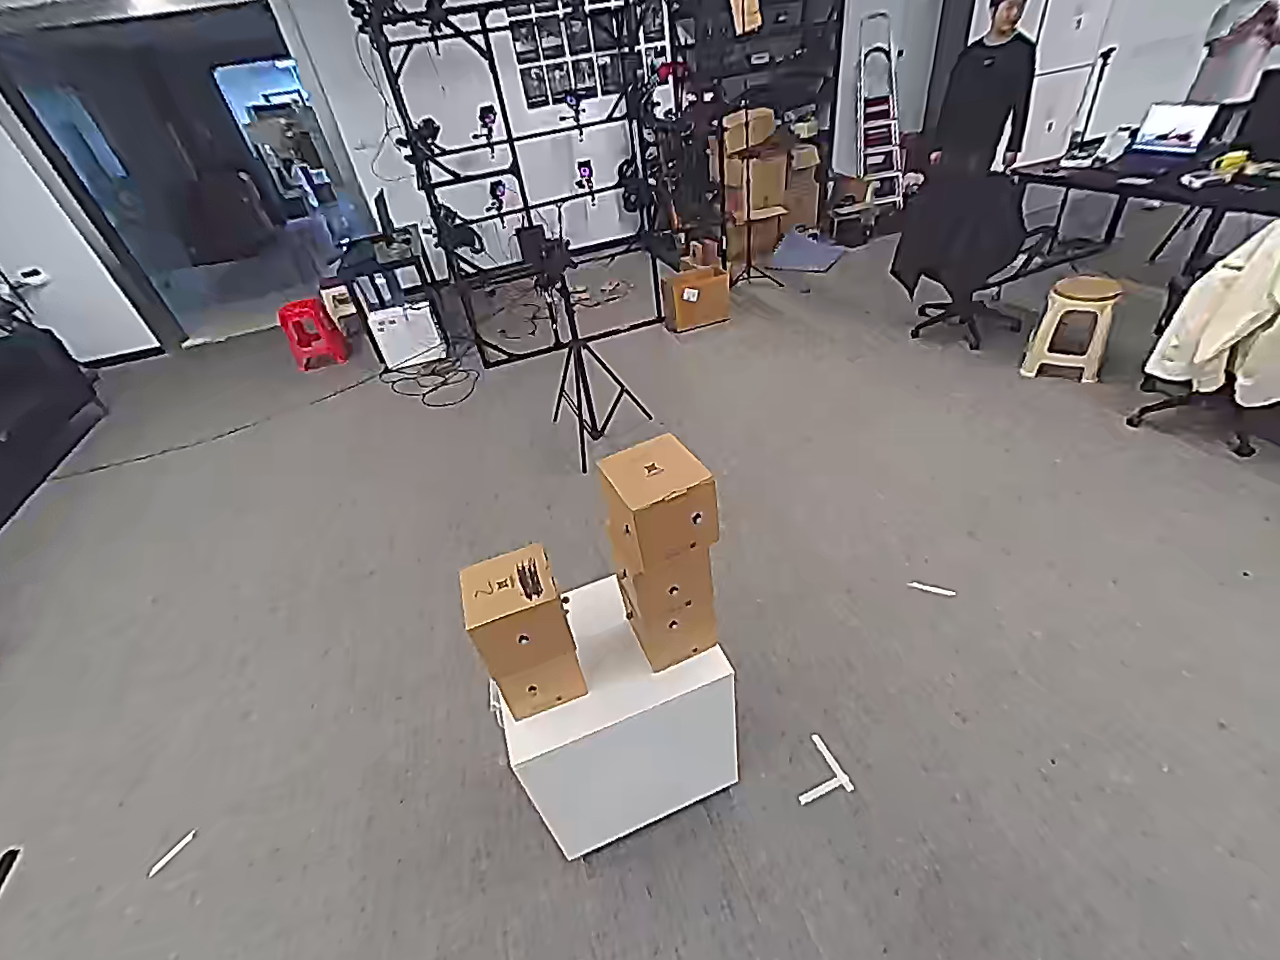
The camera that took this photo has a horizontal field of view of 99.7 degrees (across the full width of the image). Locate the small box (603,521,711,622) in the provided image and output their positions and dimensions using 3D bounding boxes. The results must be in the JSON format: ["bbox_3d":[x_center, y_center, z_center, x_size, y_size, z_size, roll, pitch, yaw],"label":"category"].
[{"bbox_3d":[0.039,0.174,1.141,0.168,0.176,0.179,-20,39,-12],"label":"small box"}]

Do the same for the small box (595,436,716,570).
[{"bbox_3d":[0.033,0.049,1.035,0.168,0.176,0.179,-23,39,-16],"label":"small box"}]

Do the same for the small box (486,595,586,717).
[{"bbox_3d":[-0.228,0.394,1.193,0.168,0.176,0.179,-18,38,-11],"label":"small box"}]

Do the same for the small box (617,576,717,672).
[{"bbox_3d":[0.063,0.302,1.242,0.168,0.176,0.179,-21,39,-12],"label":"small box"}]
